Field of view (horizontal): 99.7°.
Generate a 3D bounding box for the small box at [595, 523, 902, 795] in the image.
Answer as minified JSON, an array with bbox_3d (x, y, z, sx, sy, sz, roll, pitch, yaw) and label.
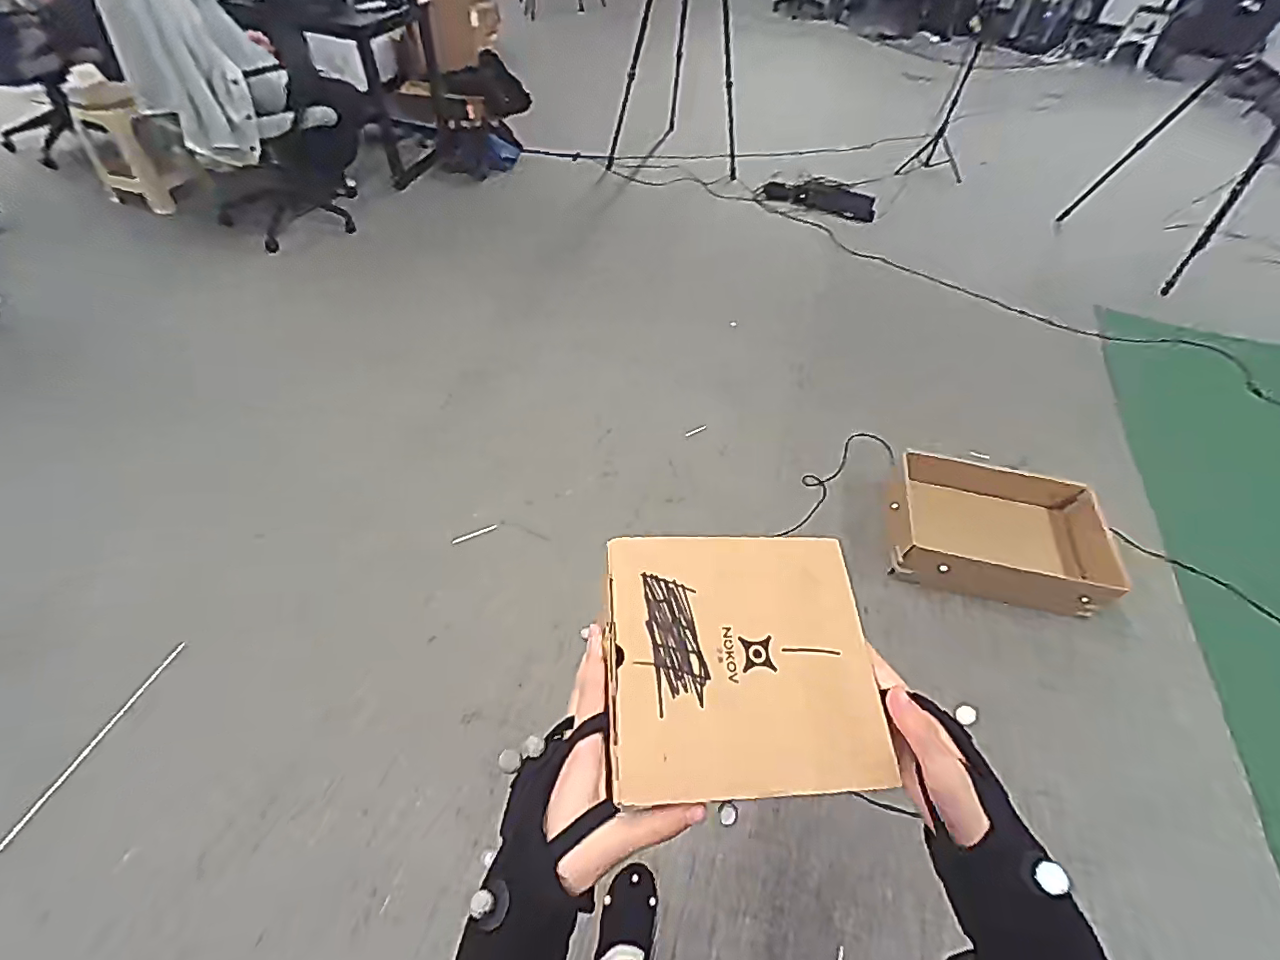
[{"bbox_3d":[0.057,0.145,0.418,0.179,0.176,0.168,3,59,-10],"label":"small box"}]
